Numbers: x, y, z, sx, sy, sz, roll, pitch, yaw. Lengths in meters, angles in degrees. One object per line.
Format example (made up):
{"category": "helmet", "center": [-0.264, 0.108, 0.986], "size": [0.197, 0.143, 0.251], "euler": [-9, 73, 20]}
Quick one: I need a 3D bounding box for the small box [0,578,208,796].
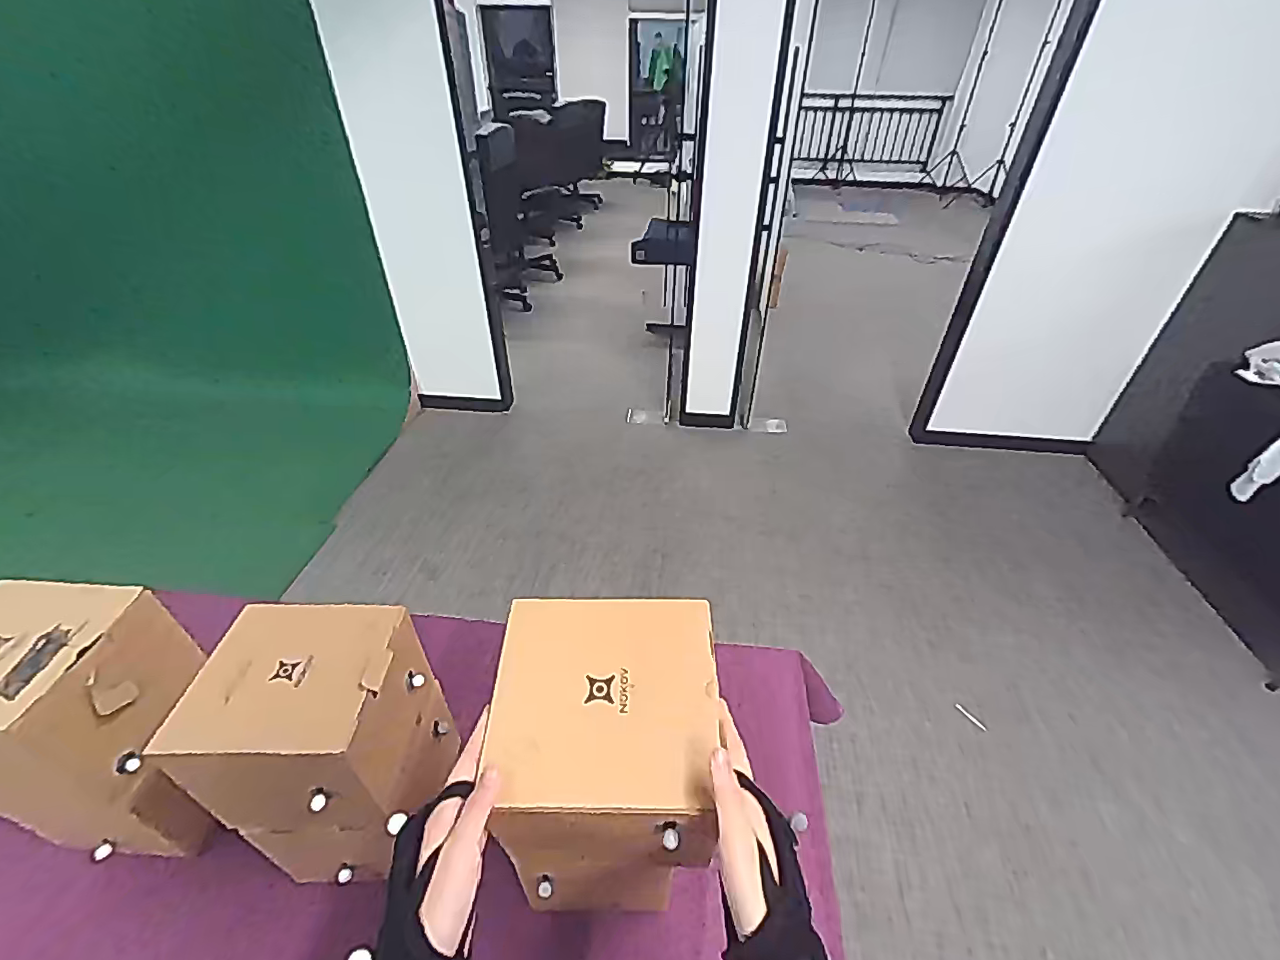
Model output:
{"category": "small box", "center": [-0.643, 0.231, 0.602], "size": [0.179, 0.176, 0.168], "euler": [3, 39, 3]}

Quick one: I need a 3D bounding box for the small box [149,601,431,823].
{"category": "small box", "center": [-0.349, 0.251, 0.589], "size": [0.179, 0.176, 0.168], "euler": [0, 39, 0]}

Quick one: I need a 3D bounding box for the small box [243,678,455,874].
{"category": "small box", "center": [-0.348, 0.376, 0.694], "size": [0.168, 0.176, 0.179], "euler": [-1, 40, -1]}

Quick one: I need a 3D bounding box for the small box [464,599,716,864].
{"category": "small box", "center": [-0.032, 0.222, 0.476], "size": [0.179, 0.176, 0.168], "euler": [1, 44, 1]}

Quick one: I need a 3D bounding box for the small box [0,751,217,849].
{"category": "small box", "center": [-0.647, 0.358, 0.706], "size": [0.179, 0.176, 0.168], "euler": [3, 39, 2]}
